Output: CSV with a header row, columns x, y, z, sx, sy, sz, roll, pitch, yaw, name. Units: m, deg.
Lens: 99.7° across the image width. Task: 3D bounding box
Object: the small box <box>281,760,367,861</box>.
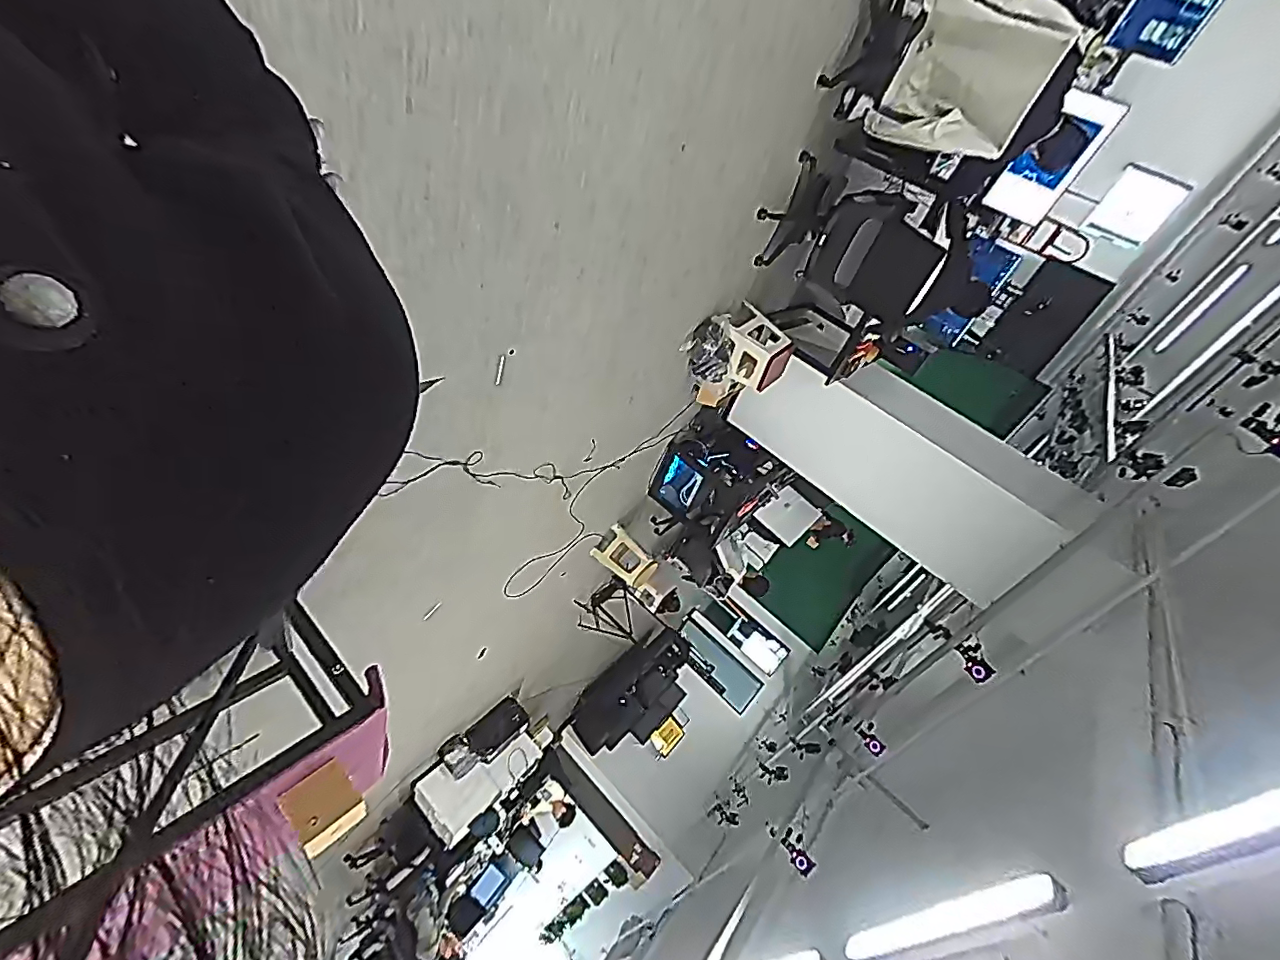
x,y,z,sx,sy,sz,roll,pitch,yaw,name
-0.964,1.002,1.647,0.179,0.176,0.168,-30,154,-43,small box
